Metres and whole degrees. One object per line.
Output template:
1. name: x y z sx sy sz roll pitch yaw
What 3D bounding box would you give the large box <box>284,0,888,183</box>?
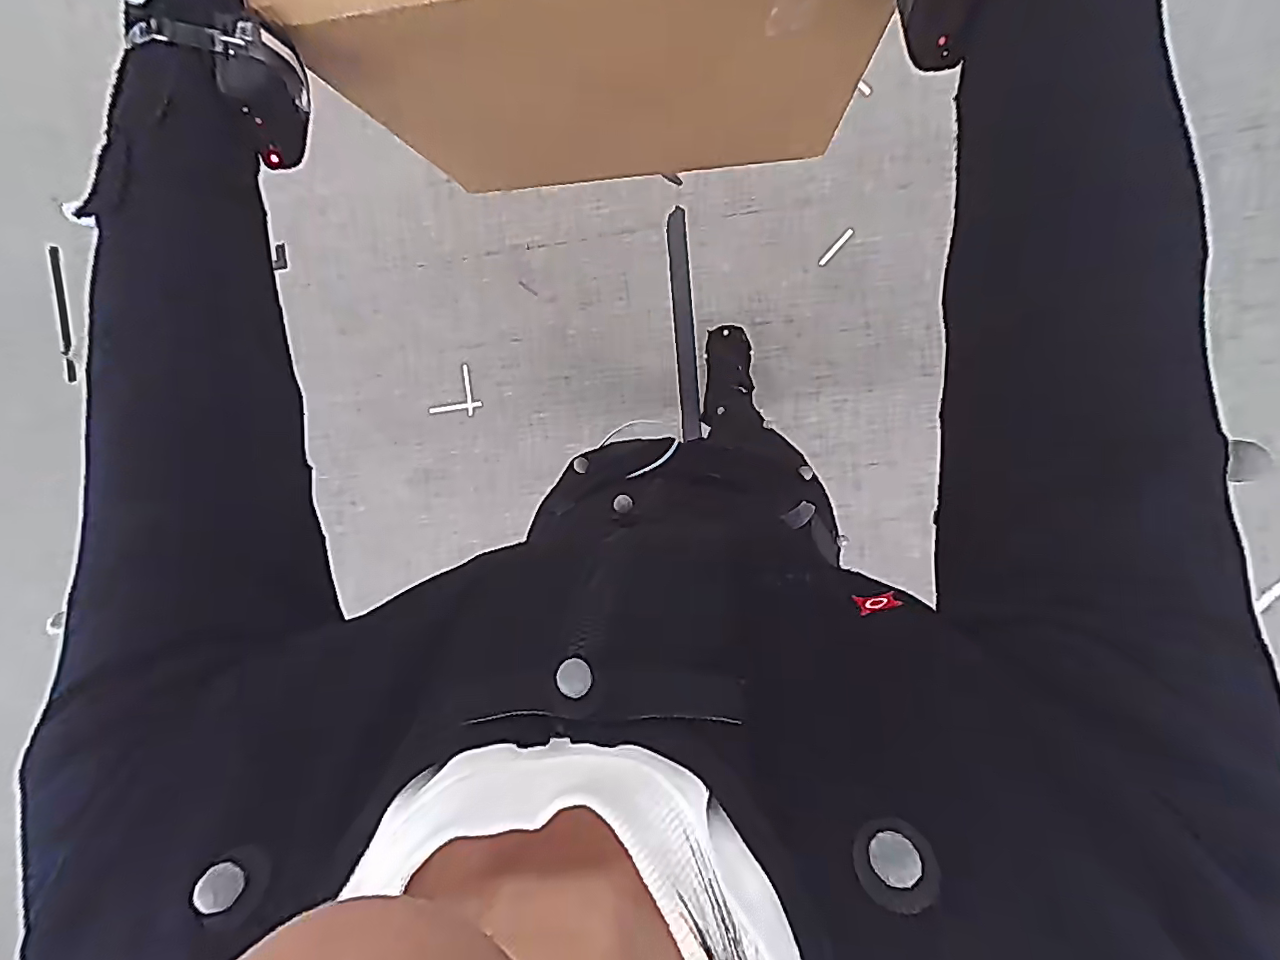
1. large box: -0.026 -0.479 0.439 0.408 0.320 0.320 -3 101 7
